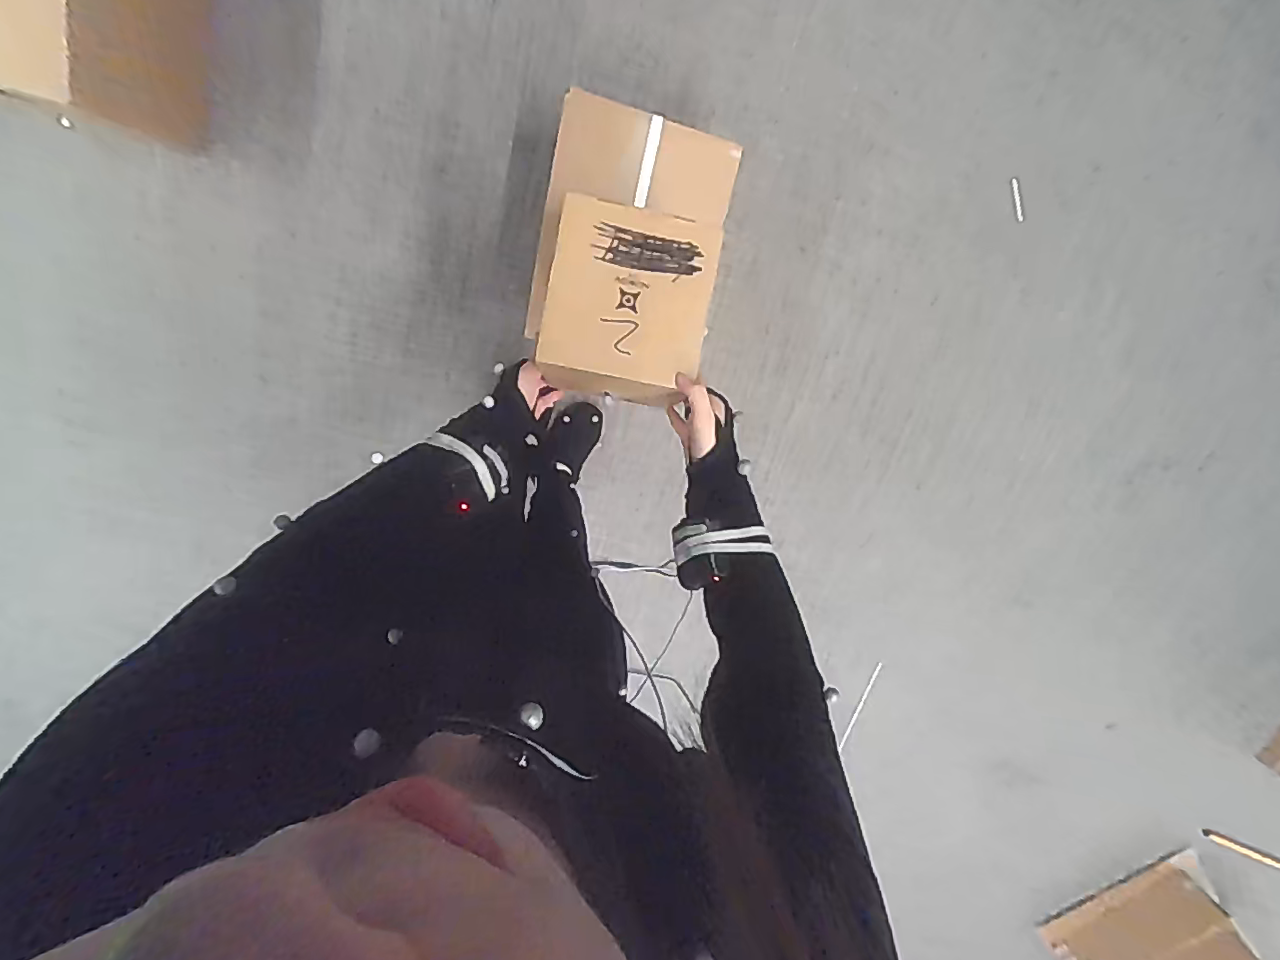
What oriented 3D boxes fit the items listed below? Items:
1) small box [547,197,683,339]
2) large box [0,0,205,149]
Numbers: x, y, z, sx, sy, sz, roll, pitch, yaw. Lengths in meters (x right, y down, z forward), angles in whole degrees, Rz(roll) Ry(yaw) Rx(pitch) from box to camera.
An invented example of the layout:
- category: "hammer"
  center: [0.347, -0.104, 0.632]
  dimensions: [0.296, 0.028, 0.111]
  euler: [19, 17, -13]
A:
- category: "small box"
  center: [-0.044, -0.340, 0.883]
  dimensions: [0.179, 0.176, 0.168]
  euler: [13, 107, -8]
- category: "large box"
  center: [-0.963, -0.828, 0.869]
  dimensions: [0.320, 0.320, 0.408]
  euler: [12, 106, -10]
